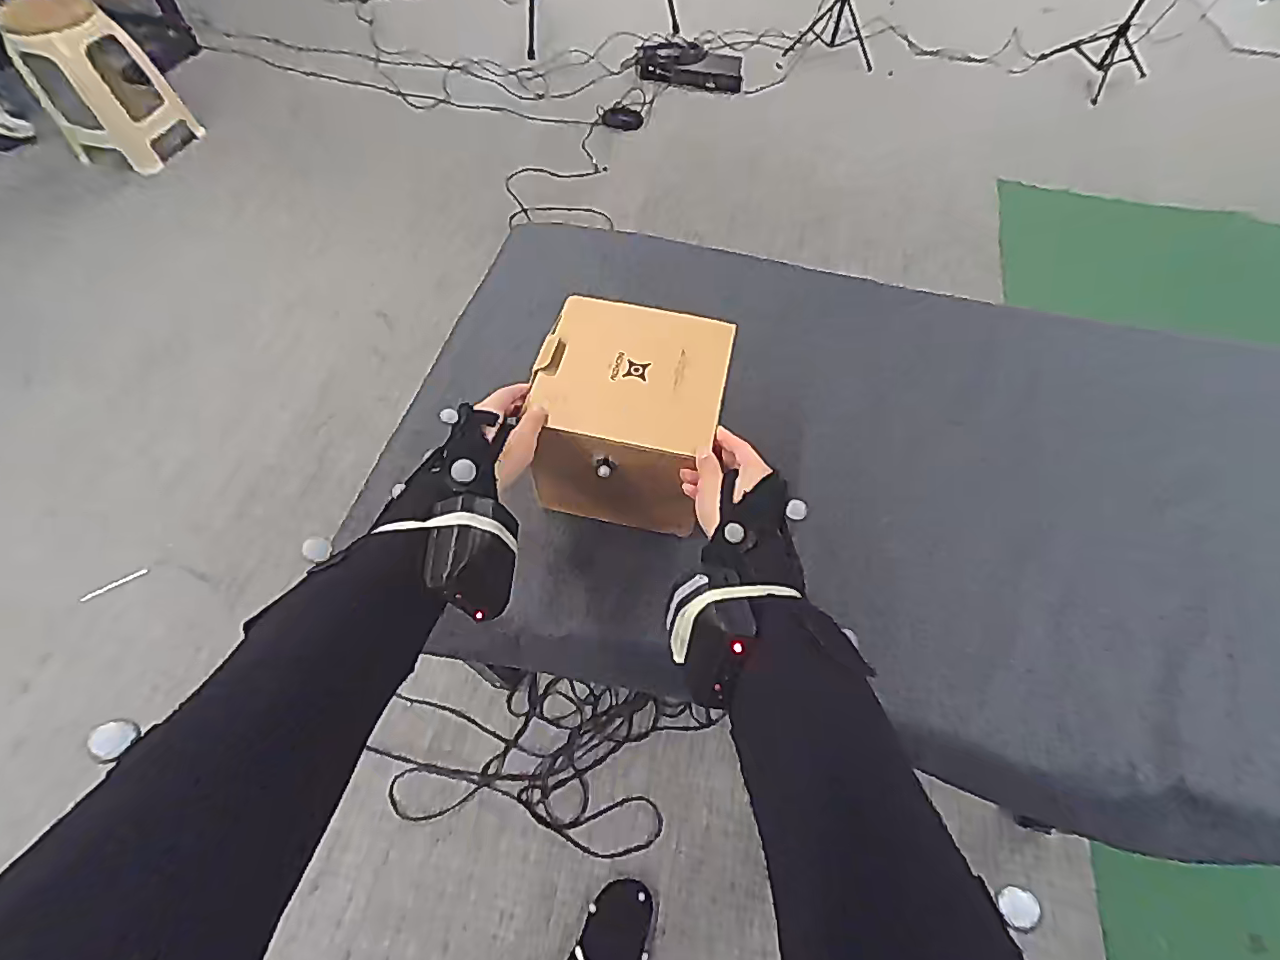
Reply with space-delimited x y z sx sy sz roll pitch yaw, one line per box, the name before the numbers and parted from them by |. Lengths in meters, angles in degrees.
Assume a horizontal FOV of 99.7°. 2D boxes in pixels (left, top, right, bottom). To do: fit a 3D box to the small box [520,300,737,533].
small box | -0.007 -0.059 0.576 0.179 0.176 0.168 12 61 4
